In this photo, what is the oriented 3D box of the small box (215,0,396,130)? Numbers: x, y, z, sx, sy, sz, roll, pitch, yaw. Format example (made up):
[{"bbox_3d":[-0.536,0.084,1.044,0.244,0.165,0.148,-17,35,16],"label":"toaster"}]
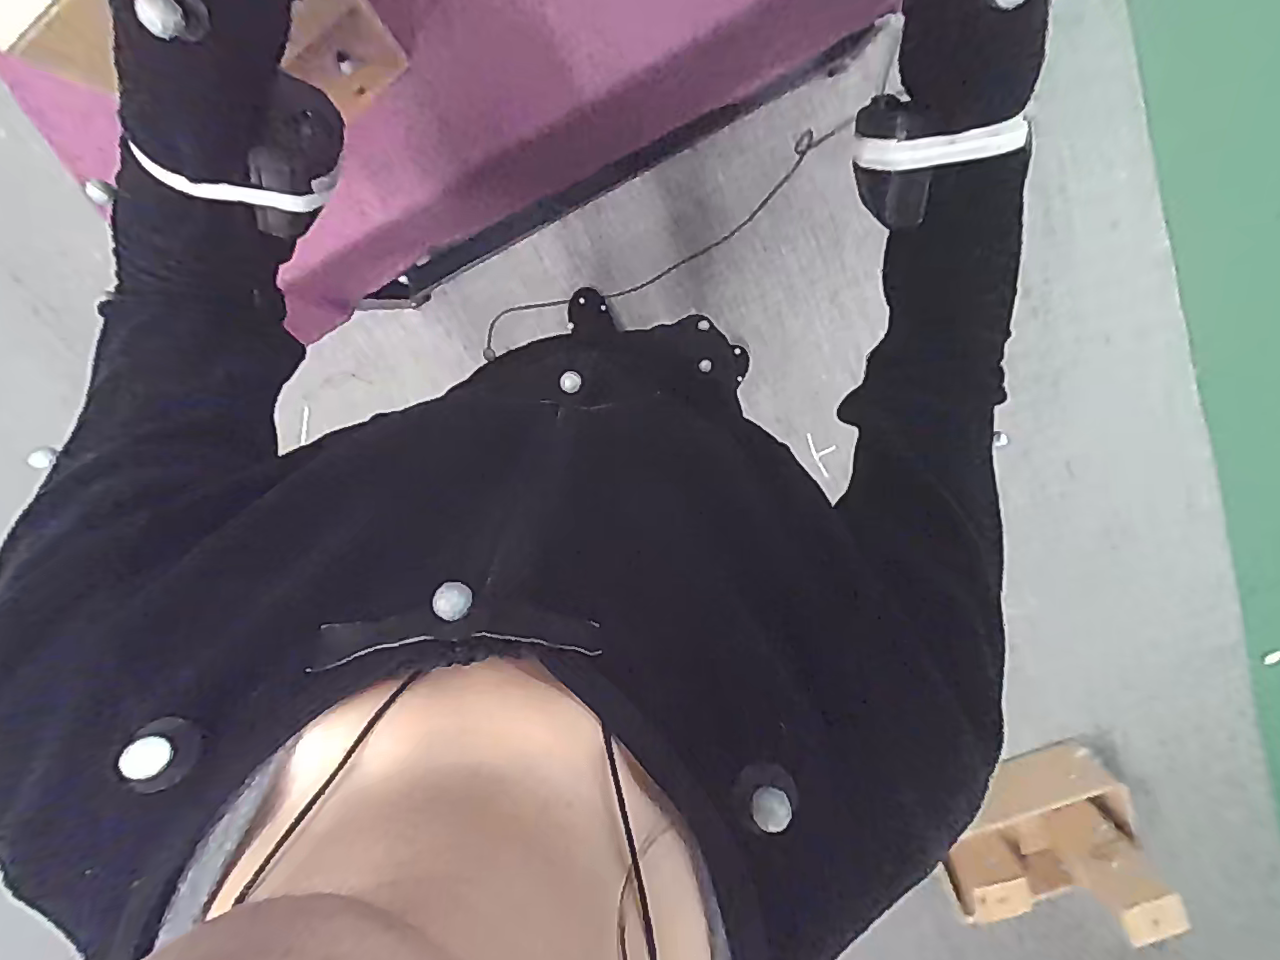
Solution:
[{"bbox_3d":[-0.371,-0.469,0.510,0.168,0.176,0.179,-33,105,8],"label":"small box"}]

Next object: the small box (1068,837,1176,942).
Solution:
[{"bbox_3d":[1.464,1.244,1.651,0.168,0.176,0.179,-27,106,7],"label":"small box"}]

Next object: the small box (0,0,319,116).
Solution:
[{"bbox_3d":[-0.358,-0.395,0.362,0.179,0.176,0.168,-33,106,9],"label":"small box"}]
